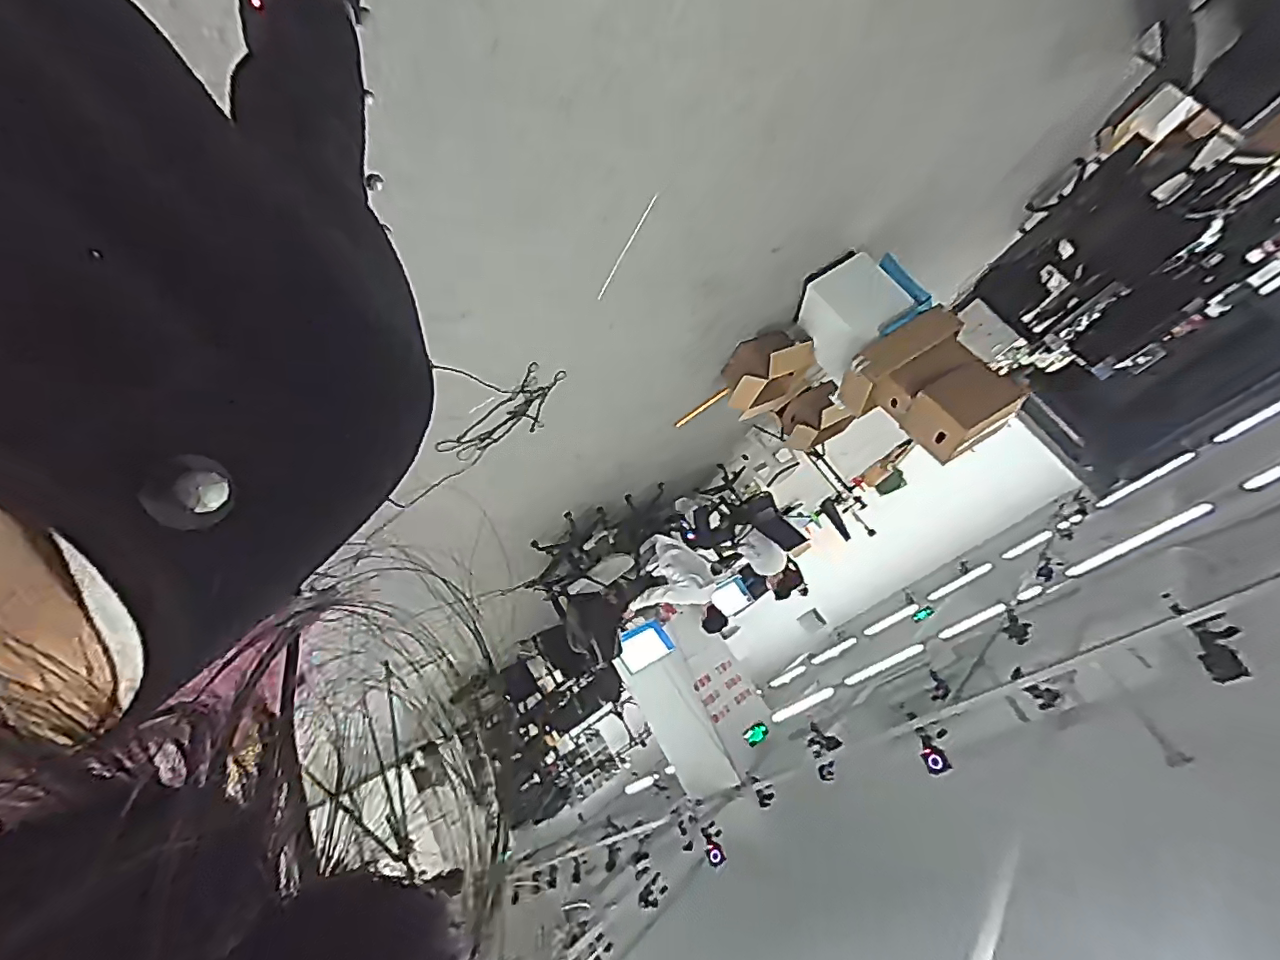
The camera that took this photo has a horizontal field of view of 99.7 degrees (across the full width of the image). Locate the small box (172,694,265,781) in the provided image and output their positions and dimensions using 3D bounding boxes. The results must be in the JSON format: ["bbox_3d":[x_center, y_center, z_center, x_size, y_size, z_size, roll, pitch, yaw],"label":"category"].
[{"bbox_3d":[-1.346,0.812,1.724,0.168,0.176,0.179,-44,157,25],"label":"small box"}]

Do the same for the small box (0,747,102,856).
[{"bbox_3d":[-1.576,0.845,1.435,0.179,0.176,0.168,-14,151,-47],"label":"small box"}]
